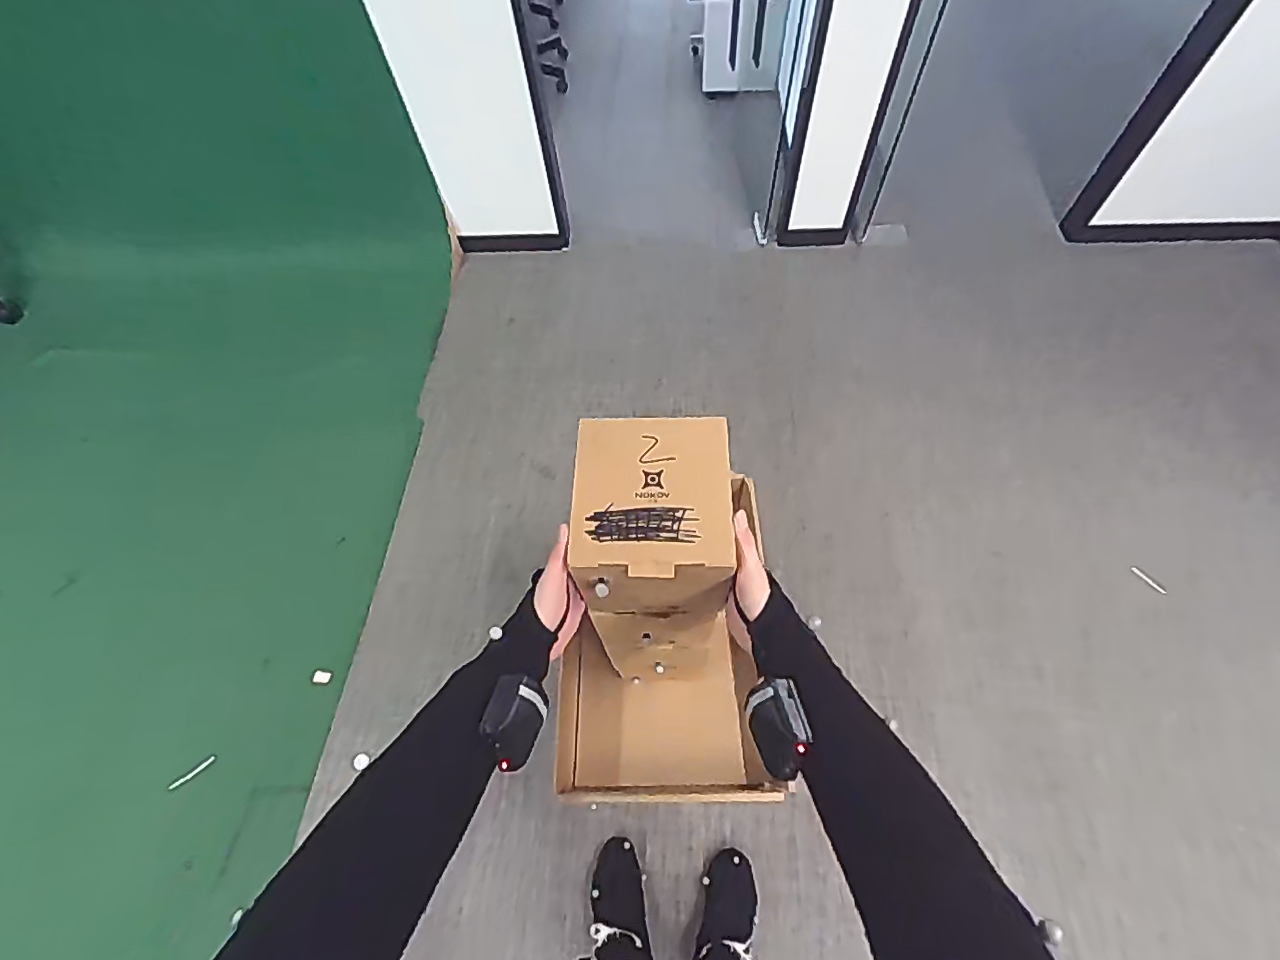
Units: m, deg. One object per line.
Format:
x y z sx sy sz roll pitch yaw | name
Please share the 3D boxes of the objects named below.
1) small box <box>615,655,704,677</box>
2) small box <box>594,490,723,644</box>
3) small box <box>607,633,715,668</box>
0.043 0.287 1.071 0.168 0.176 0.179 -1 59 3 | small box
0.025 0.130 0.785 0.168 0.176 0.179 -2 60 2 | small box
0.035 0.214 0.923 0.168 0.176 0.179 -2 60 3 | small box
